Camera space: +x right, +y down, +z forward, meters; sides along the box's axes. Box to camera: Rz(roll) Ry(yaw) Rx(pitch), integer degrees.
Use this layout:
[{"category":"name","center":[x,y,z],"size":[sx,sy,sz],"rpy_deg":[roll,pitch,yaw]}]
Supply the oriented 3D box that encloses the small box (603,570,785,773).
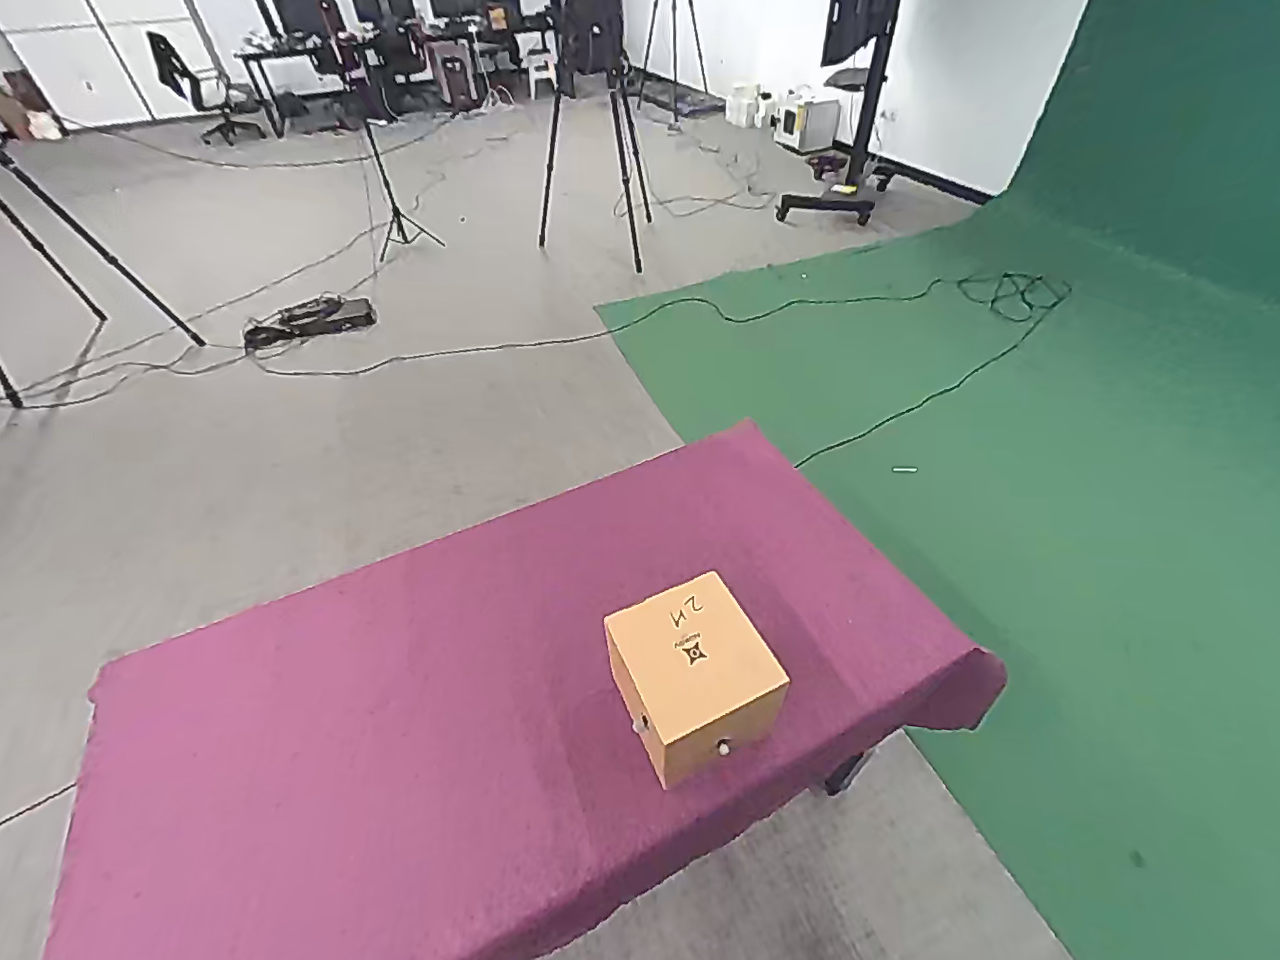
[{"category":"small box","center":[0.065,0.257,0.713],"size":[0.168,0.176,0.179],"rpy_deg":[-20,48,-16]}]
